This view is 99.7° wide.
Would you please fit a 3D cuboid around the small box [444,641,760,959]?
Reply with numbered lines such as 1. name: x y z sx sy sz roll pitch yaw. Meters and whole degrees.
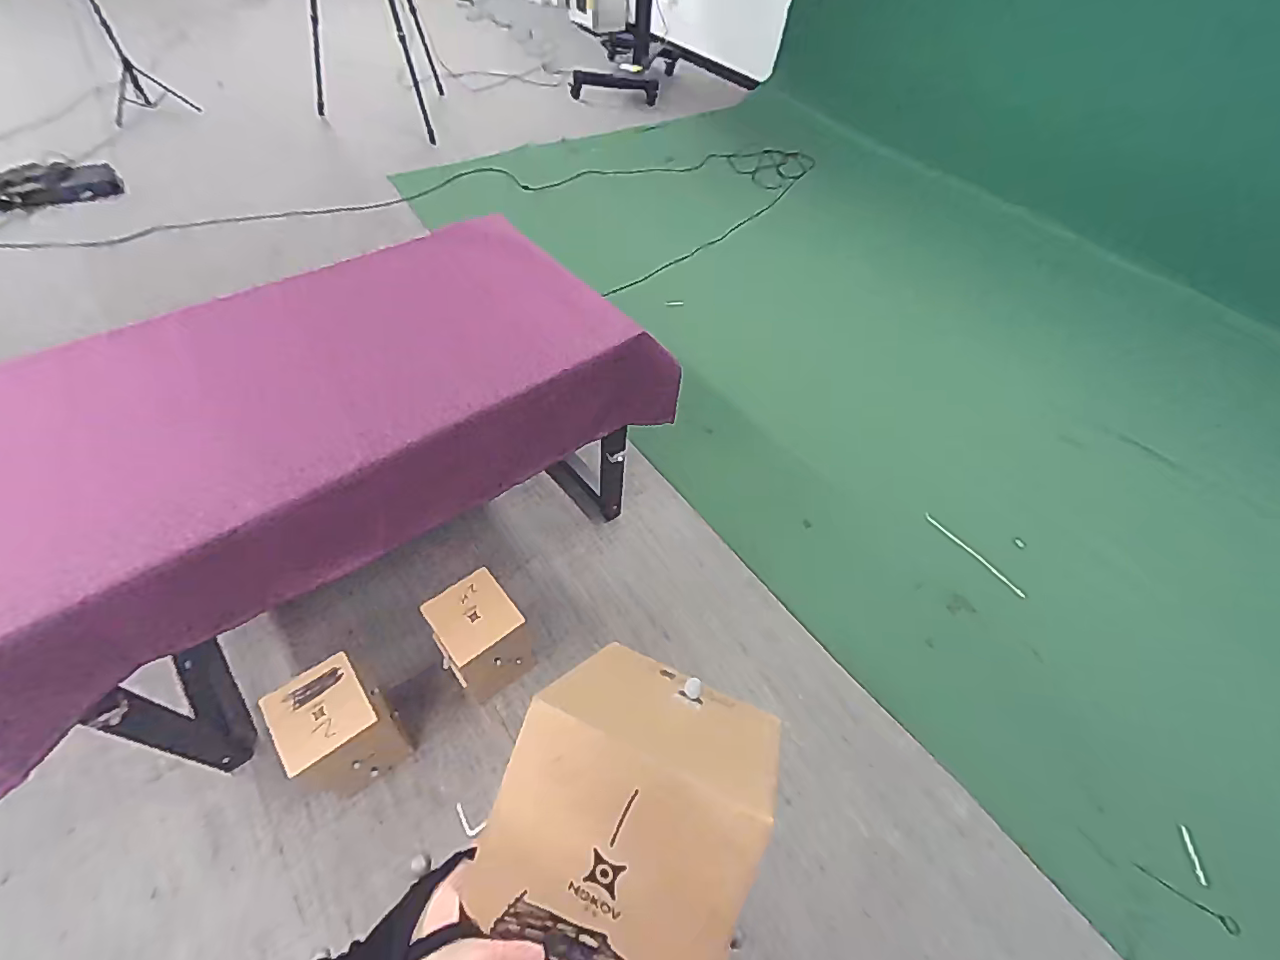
1. small box: -0.012 0.252 0.423 0.168 0.176 0.179 21 92 17

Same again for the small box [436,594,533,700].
1. small box: -0.393 0.435 1.393 0.179 0.176 0.168 -31 62 -25
